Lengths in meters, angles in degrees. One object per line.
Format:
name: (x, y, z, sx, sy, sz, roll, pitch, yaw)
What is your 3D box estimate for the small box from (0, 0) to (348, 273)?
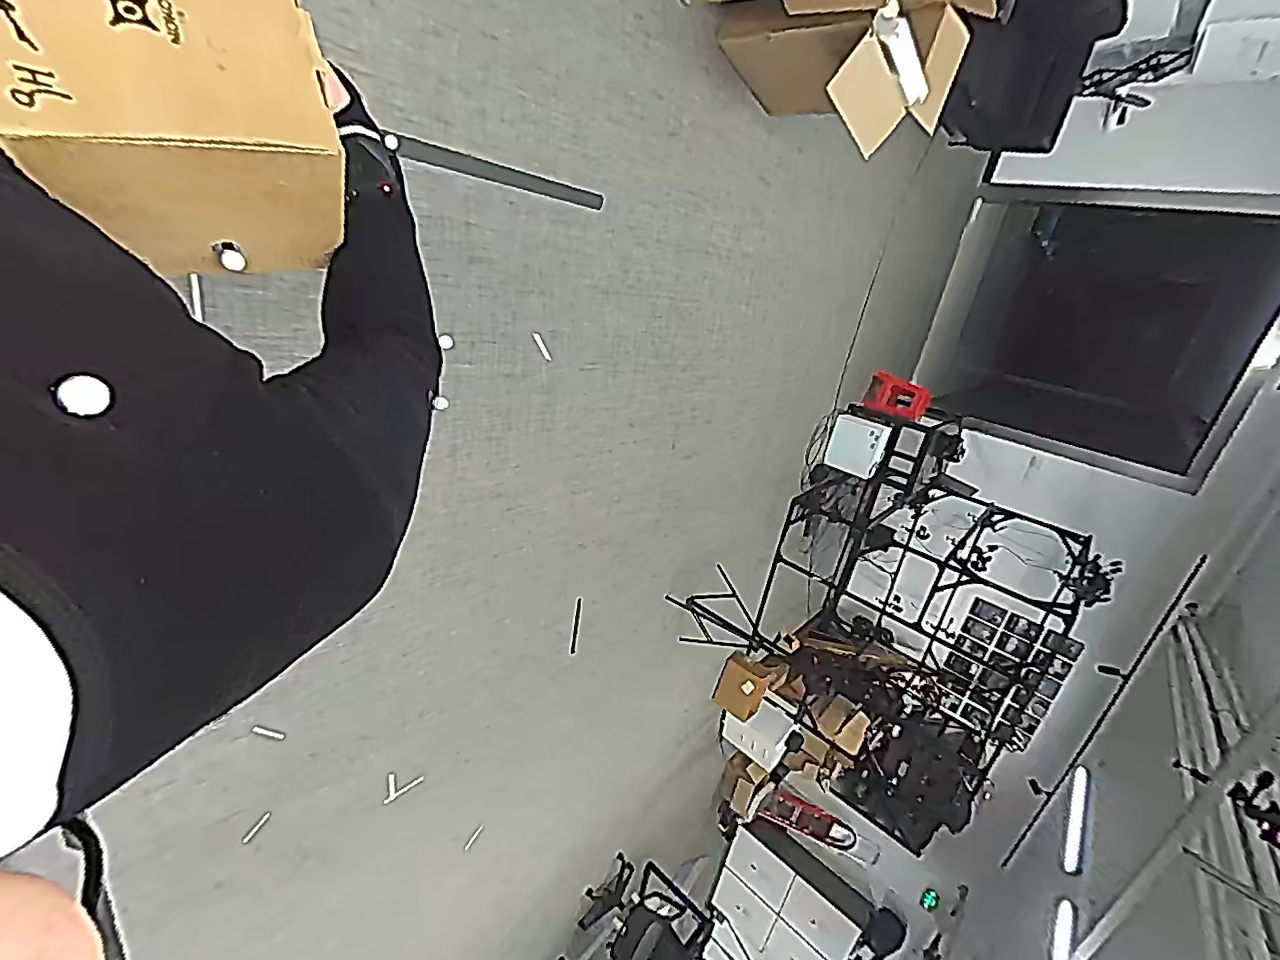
small box: (-0.346, -0.278, 0.419, 0.179, 0.176, 0.168, -17, 90, -31)
